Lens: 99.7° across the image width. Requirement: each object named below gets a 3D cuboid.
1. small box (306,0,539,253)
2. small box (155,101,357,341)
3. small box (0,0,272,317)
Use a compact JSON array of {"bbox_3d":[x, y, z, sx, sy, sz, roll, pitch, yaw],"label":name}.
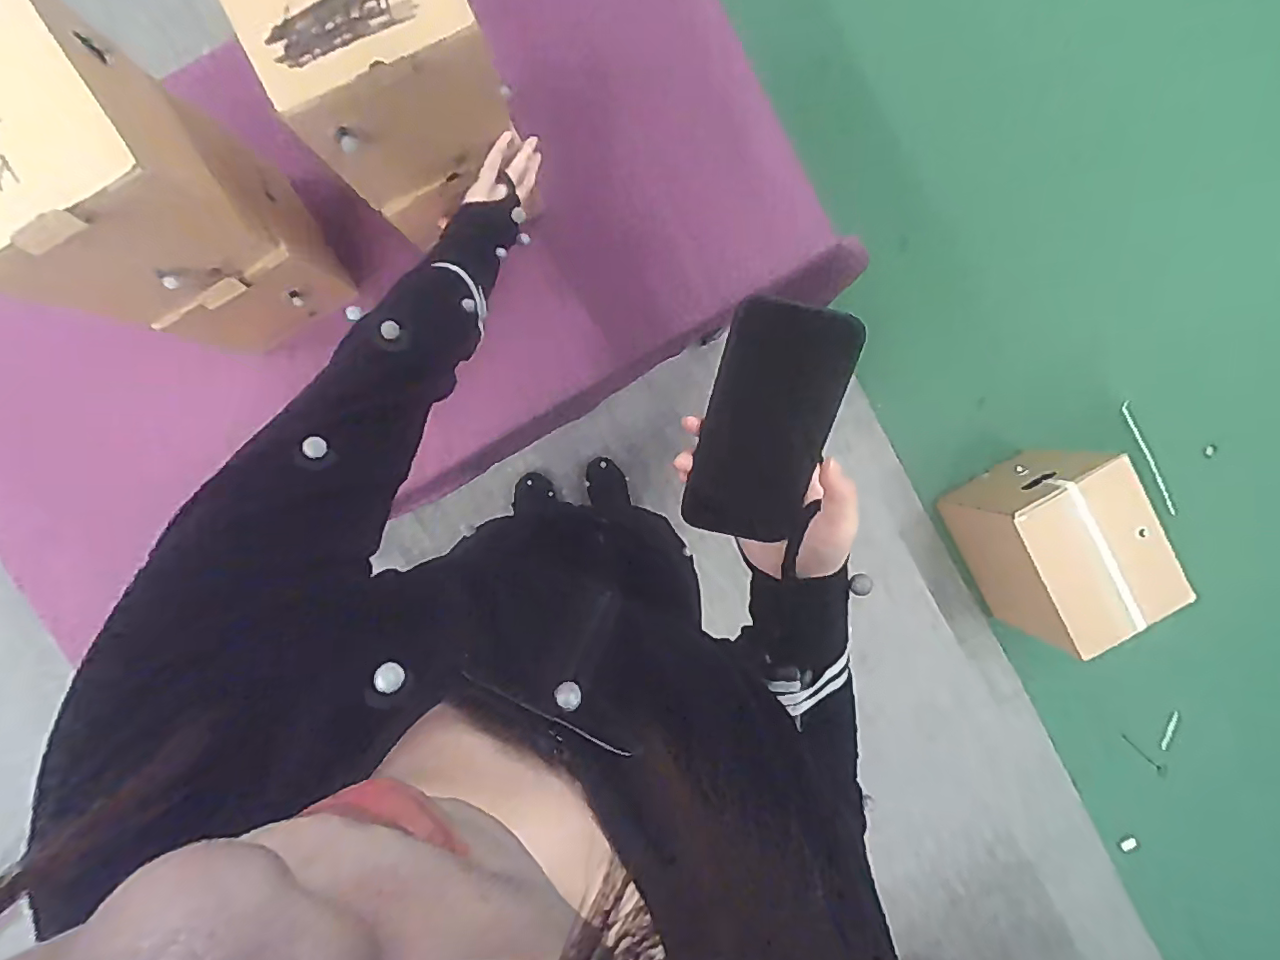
[{"bbox_3d":[-0.237,-0.405,0.640,0.168,0.176,0.179,-28,96,0],"label":"small box"},{"bbox_3d":[-0.478,-0.281,0.638,0.168,0.176,0.179,-31,95,-1],"label":"small box"},{"bbox_3d":[-0.483,-0.271,0.473,0.168,0.176,0.179,-31,96,0],"label":"small box"}]
